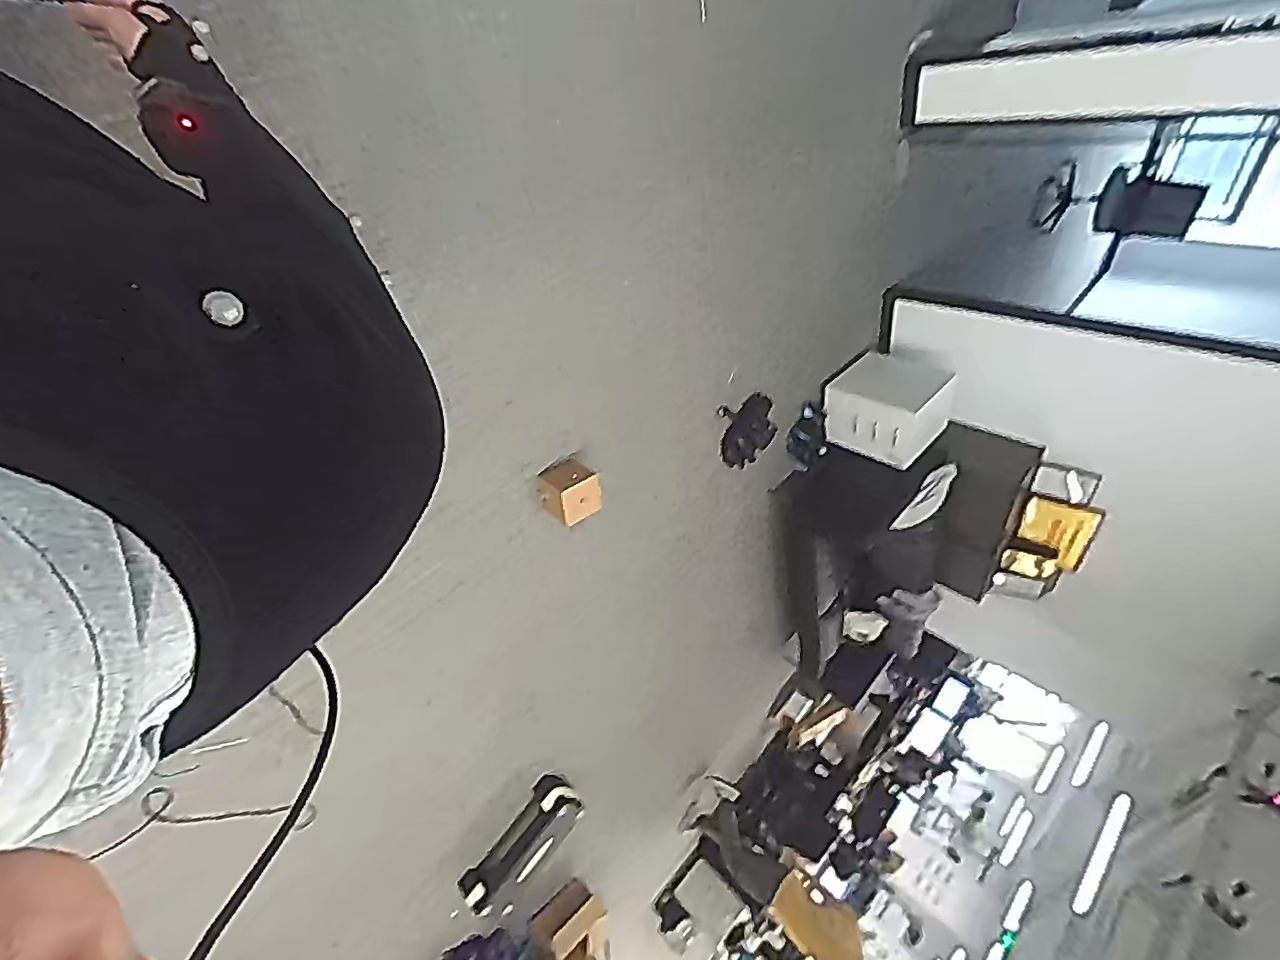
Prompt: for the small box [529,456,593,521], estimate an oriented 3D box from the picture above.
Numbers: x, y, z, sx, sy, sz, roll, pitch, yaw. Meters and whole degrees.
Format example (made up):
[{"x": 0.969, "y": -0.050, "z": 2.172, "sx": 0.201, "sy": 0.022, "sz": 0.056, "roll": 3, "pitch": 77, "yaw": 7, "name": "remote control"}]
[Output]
[{"x": -0.309, "y": 0.026, "z": 2.126, "sx": 0.179, "sy": 0.176, "sz": 0.168, "roll": -31, "pitch": 131, "yaw": -32, "name": "small box"}]
